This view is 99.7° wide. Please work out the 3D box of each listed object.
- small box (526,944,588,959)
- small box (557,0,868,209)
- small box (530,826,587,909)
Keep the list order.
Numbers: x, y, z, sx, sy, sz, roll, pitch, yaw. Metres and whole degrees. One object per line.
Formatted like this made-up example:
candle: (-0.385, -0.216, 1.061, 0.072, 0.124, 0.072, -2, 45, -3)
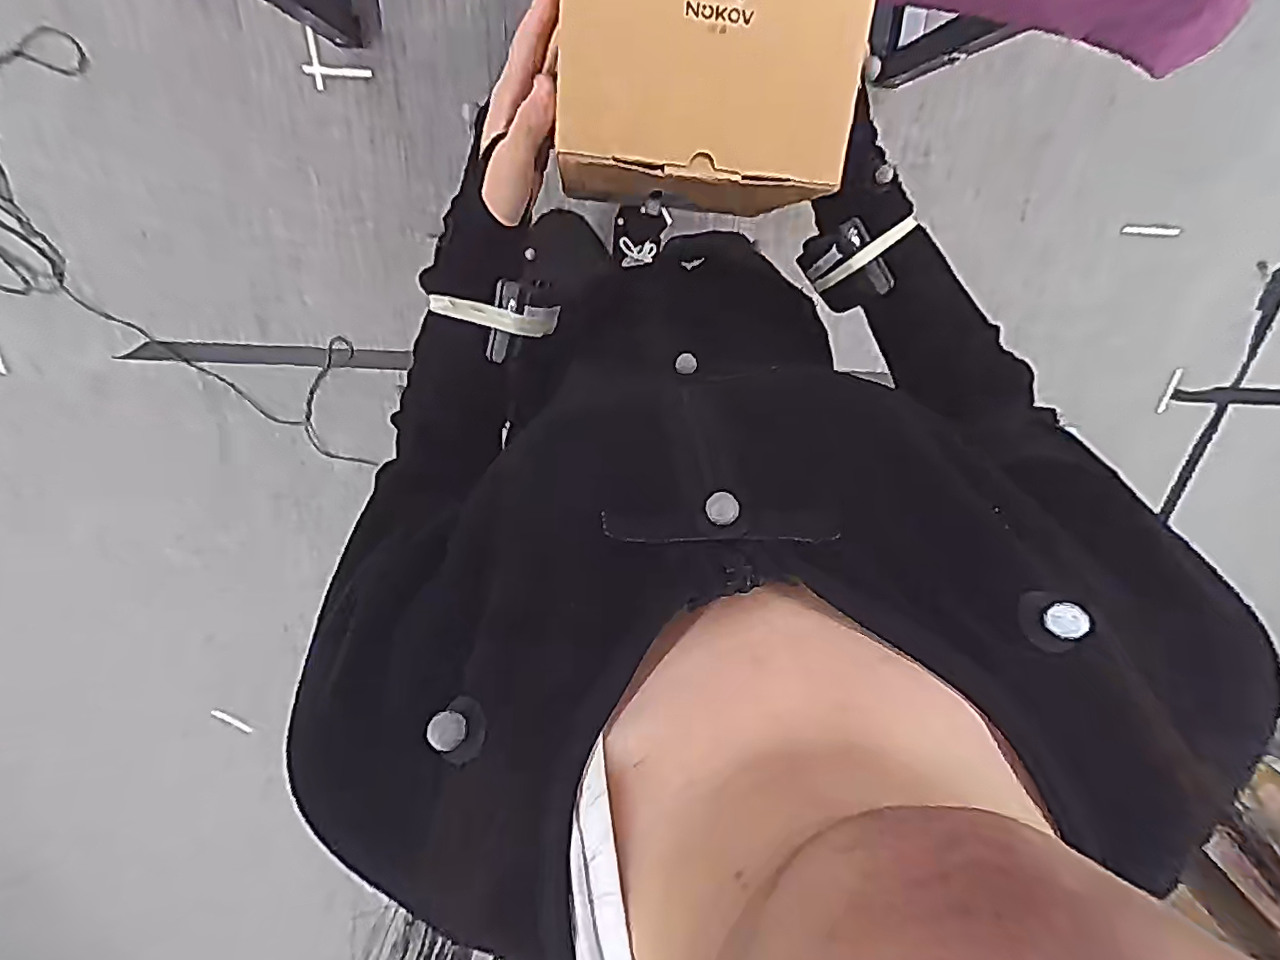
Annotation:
small box: (-0.236, 1.414, 1.482, 0.179, 0.176, 0.168, 3, 116, -7)
small box: (0.032, -0.289, 0.353, 0.168, 0.176, 0.179, 2, 112, -7)
small box: (-0.263, 1.267, 1.775, 0.179, 0.176, 0.168, 0, 115, -4)
